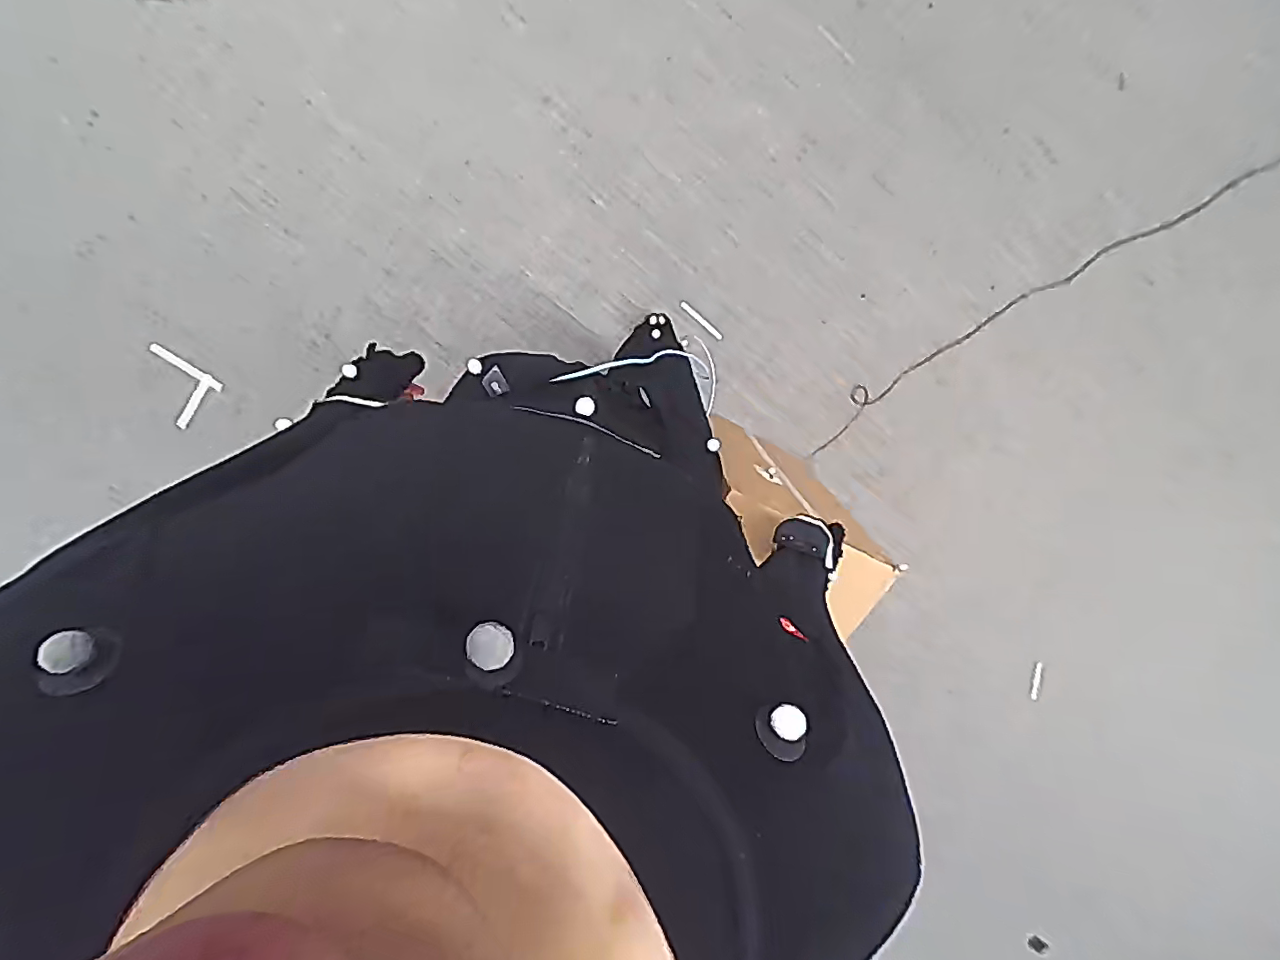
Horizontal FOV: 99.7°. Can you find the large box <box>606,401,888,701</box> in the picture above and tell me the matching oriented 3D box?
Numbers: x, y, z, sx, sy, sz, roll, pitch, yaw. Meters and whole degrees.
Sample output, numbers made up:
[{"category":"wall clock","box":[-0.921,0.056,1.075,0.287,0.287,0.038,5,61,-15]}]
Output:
[{"category":"large box","box":[0.150,0.112,0.996,0.320,0.408,0.320,25,111,-18]}]
